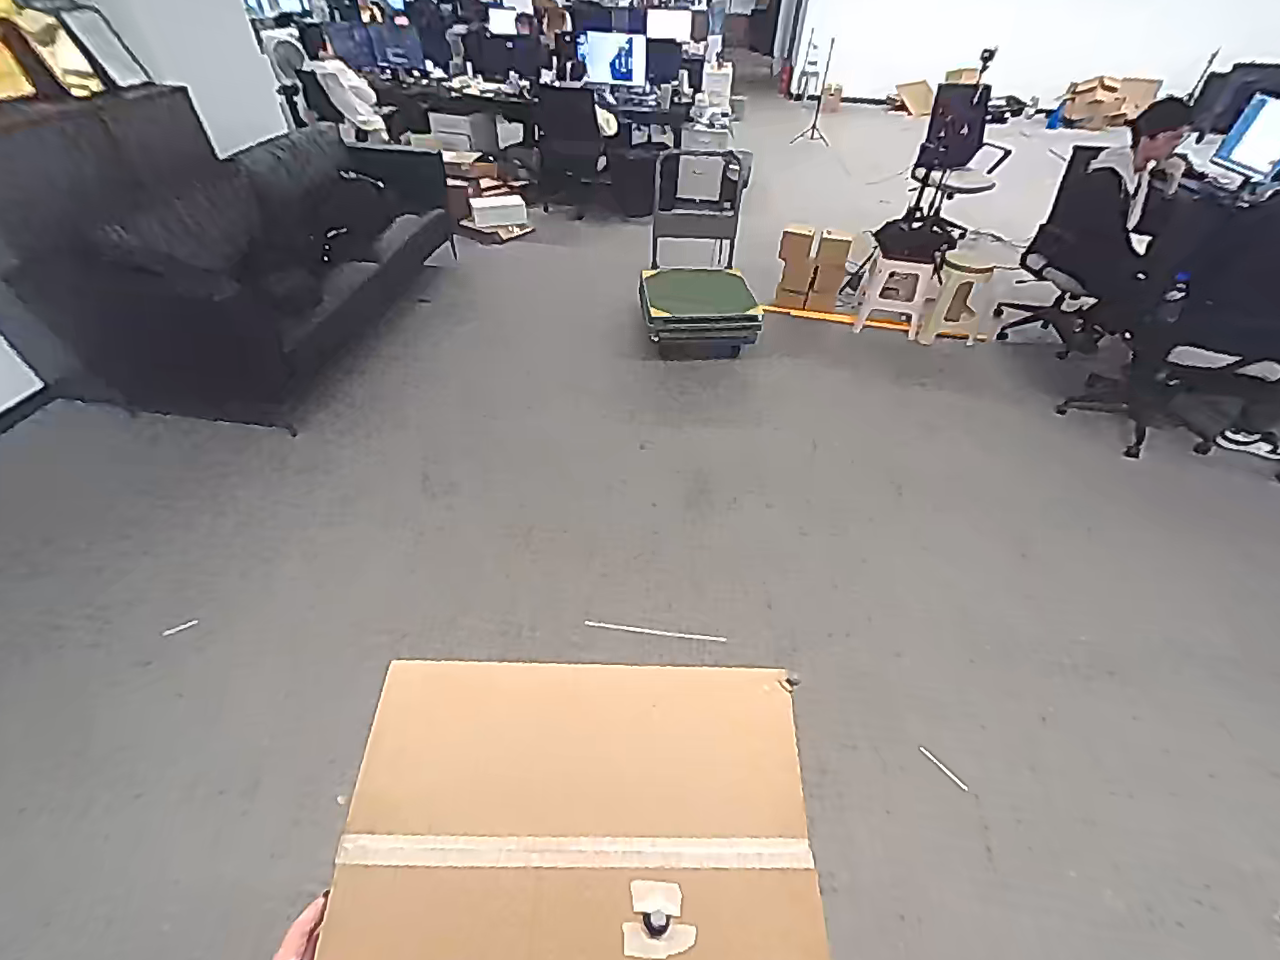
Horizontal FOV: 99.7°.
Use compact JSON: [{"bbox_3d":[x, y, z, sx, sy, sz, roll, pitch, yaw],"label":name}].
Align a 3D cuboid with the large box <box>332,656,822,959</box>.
[{"bbox_3d":[-0.057,0.398,0.608,0.408,0.320,0.320,2,57,-2],"label":"large box"}]
